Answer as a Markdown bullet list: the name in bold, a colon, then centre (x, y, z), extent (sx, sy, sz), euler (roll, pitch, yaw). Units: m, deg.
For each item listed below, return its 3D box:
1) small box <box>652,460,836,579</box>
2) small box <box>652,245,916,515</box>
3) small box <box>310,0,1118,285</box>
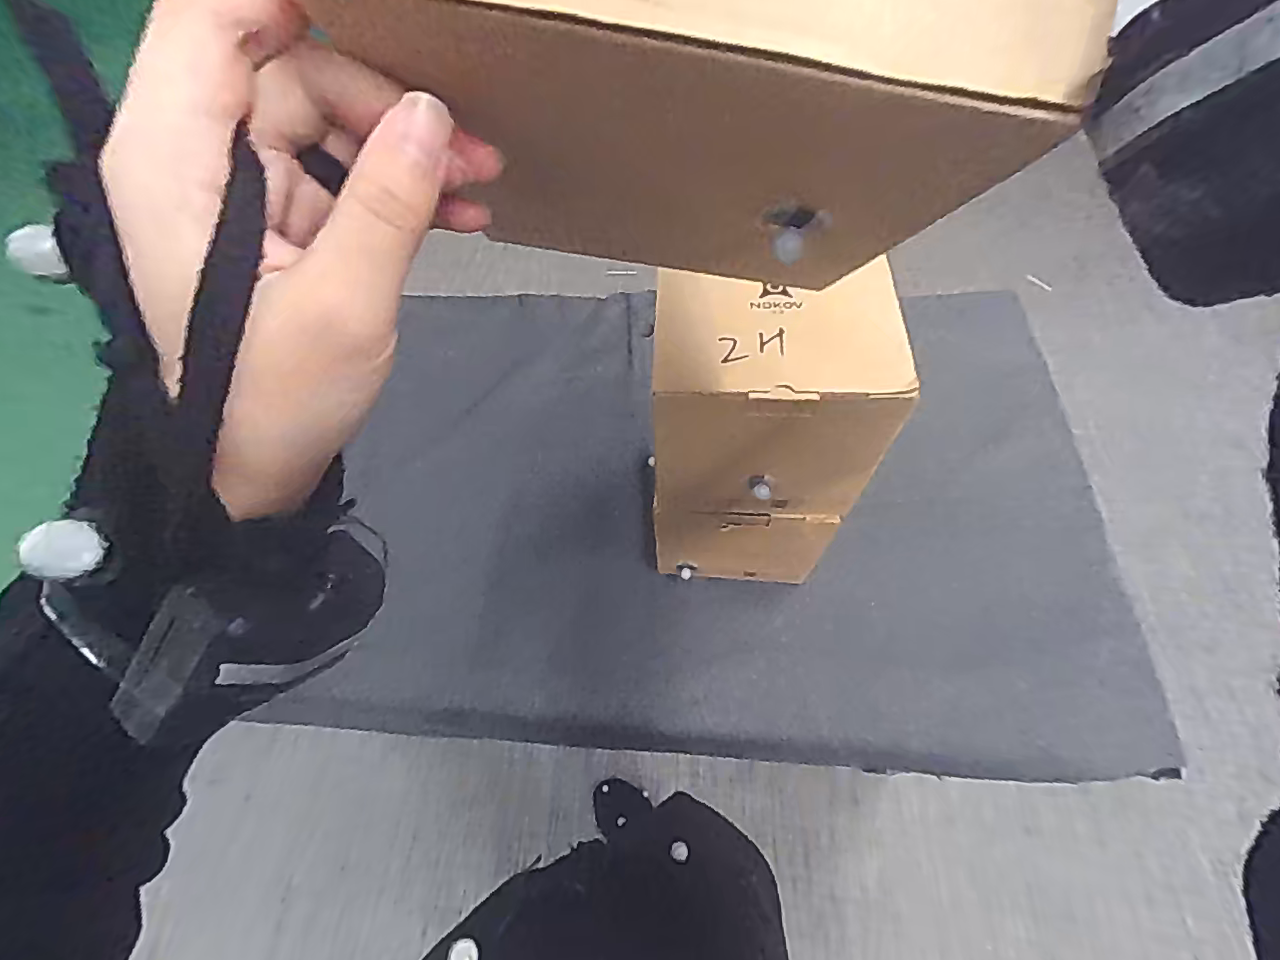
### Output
- **small box**: centre (0.105, -0.003, 0.588), extent (0.168, 0.176, 0.179), euler (3, 60, 5)
- **small box**: centre (0.097, -0.087, 0.446), extent (0.168, 0.176, 0.179), euler (0, 60, 5)
- **small box**: centre (0.024, -0.178, 0.188), extent (0.179, 0.176, 0.168), euler (7, 95, -1)
